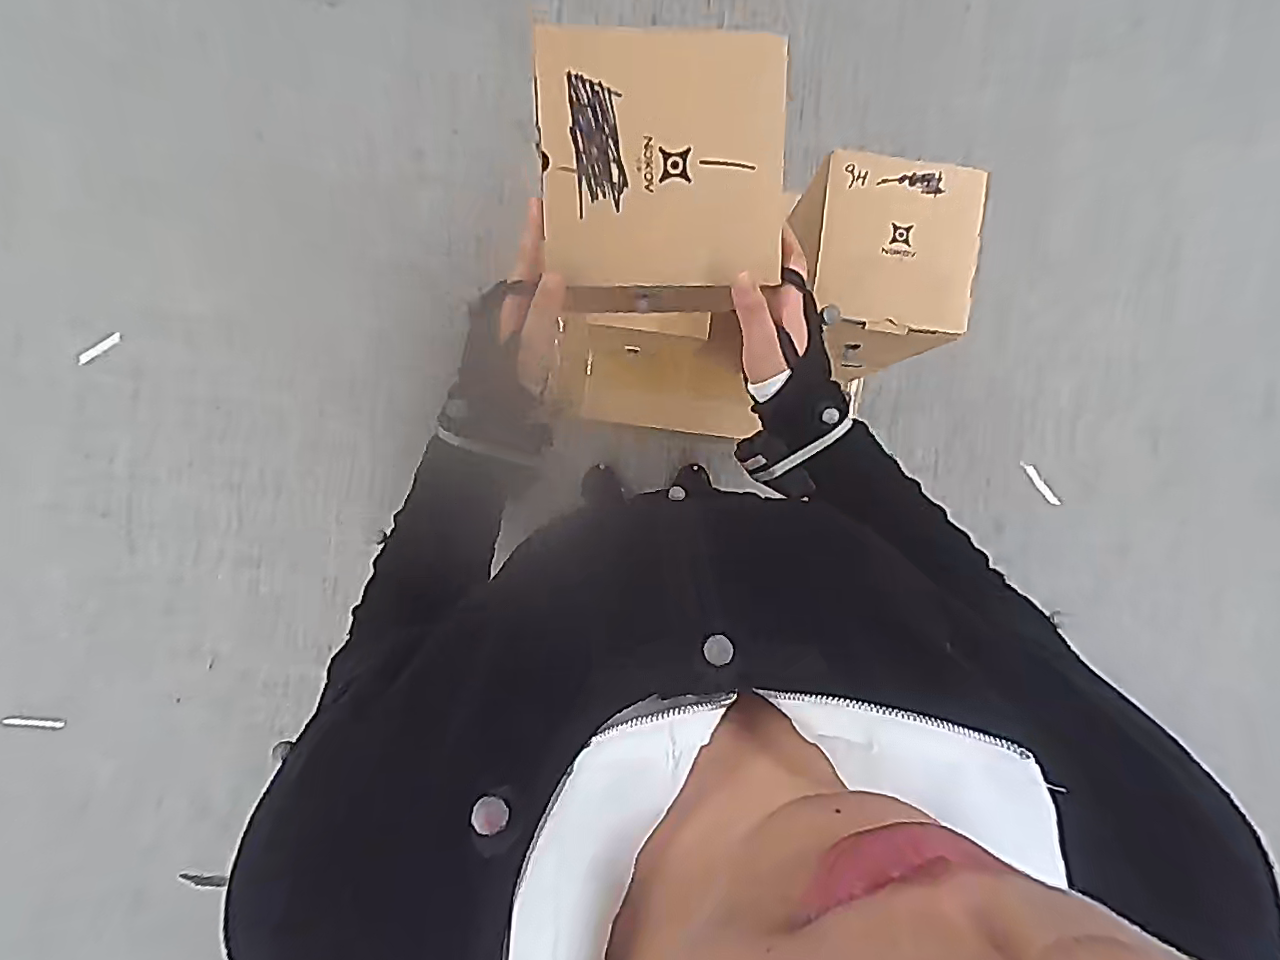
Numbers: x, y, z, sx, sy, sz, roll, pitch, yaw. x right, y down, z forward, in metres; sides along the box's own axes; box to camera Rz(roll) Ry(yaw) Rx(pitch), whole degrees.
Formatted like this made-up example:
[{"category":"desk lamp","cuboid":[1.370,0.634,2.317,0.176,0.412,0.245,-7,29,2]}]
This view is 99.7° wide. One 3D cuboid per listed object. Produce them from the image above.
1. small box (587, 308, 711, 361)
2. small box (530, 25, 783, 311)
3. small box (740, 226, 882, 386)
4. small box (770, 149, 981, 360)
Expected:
[{"category":"small box","cuboid":[0.015,-0.285,0.794,0.168,0.176,0.179,6,92,-2]},{"category":"small box","cuboid":[0.008,-0.238,0.458,0.179,0.176,0.168,-2,101,-5]},{"category":"small box","cuboid":[0.251,-0.247,0.804,0.168,0.176,0.179,6,91,-1]},{"category":"small box","cuboid":[0.260,-0.248,0.640,0.168,0.176,0.179,7,92,-1]}]
